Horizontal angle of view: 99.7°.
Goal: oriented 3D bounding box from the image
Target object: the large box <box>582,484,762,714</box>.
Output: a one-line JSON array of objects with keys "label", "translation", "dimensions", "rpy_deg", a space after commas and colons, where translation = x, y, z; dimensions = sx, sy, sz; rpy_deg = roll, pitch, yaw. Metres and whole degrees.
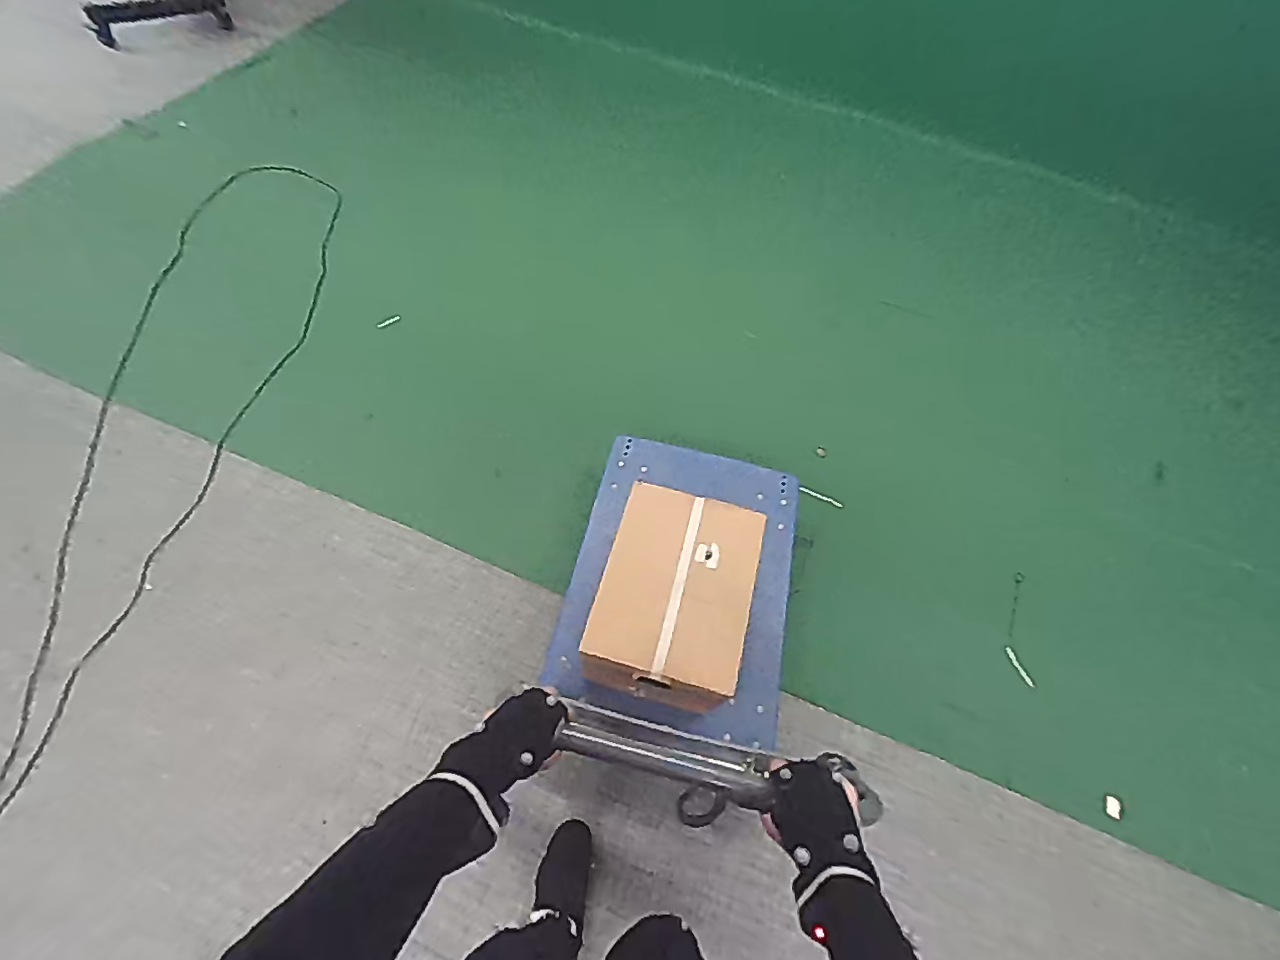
[{"label": "large box", "translation": [0.073, 0.286, 1.267], "dimensions": [0.320, 0.320, 0.408], "rpy_deg": [16, 60, 4]}]
